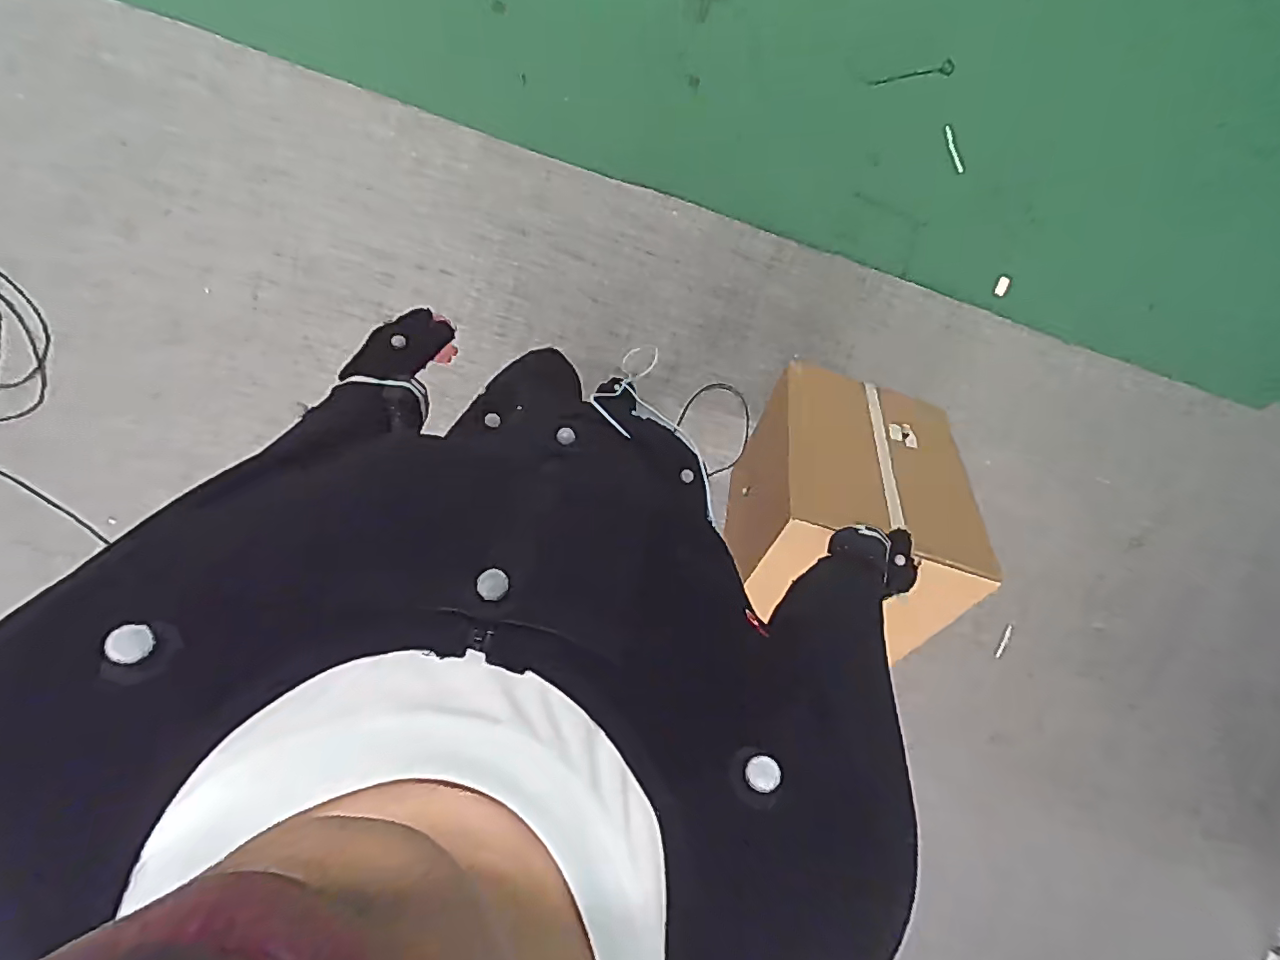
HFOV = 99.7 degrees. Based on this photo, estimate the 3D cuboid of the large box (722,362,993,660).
[{"bbox_3d":[0.354,0.055,0.996,0.320,0.408,0.320,18,136,-2],"label":"large box"}]
